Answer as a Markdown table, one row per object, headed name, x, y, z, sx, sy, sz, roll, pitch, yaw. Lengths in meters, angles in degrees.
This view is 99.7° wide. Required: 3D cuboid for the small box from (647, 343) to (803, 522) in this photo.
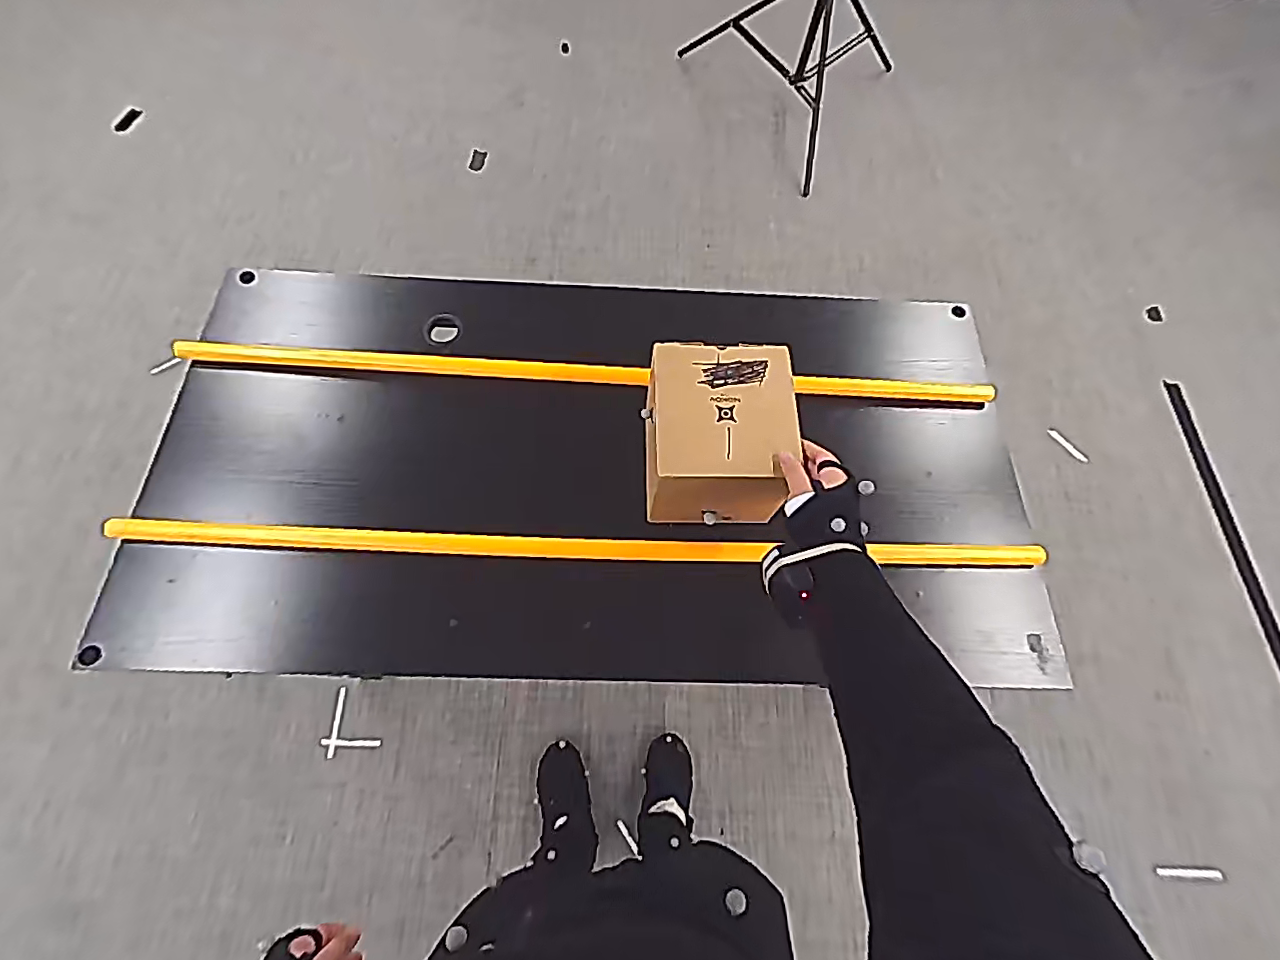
| name | x | y | z | sx | sy | sz | roll | pitch | yaw |
| --- | --- | --- | --- | --- | --- | --- | --- | --- | --- |
| small box | 0.096 | -0.056 | 0.703 | 0.168 | 0.176 | 0.179 | 0 | 68 | -2 |
